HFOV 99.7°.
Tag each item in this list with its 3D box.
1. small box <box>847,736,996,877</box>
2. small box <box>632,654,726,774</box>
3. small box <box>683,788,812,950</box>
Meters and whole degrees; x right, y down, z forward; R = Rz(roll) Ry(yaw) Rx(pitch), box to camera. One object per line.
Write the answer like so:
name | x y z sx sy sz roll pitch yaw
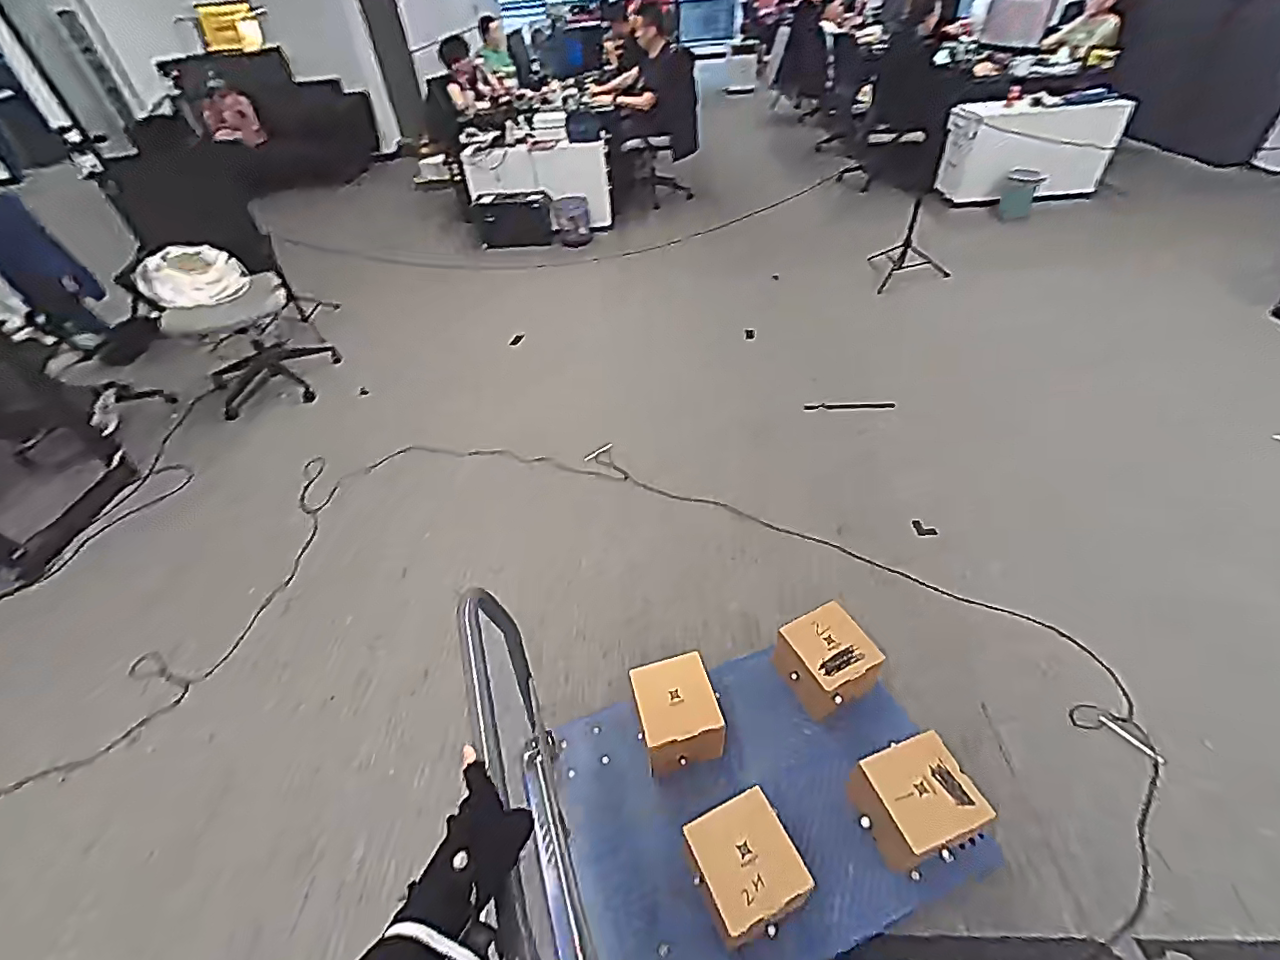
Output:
small box | 0.533 0.637 1.054 0.179 0.176 0.168 -16 44 -10
small box | 0.081 0.525 1.214 0.168 0.176 0.179 -12 45 -8
small box | 0.188 0.718 0.998 0.168 0.176 0.179 -19 45 -15
